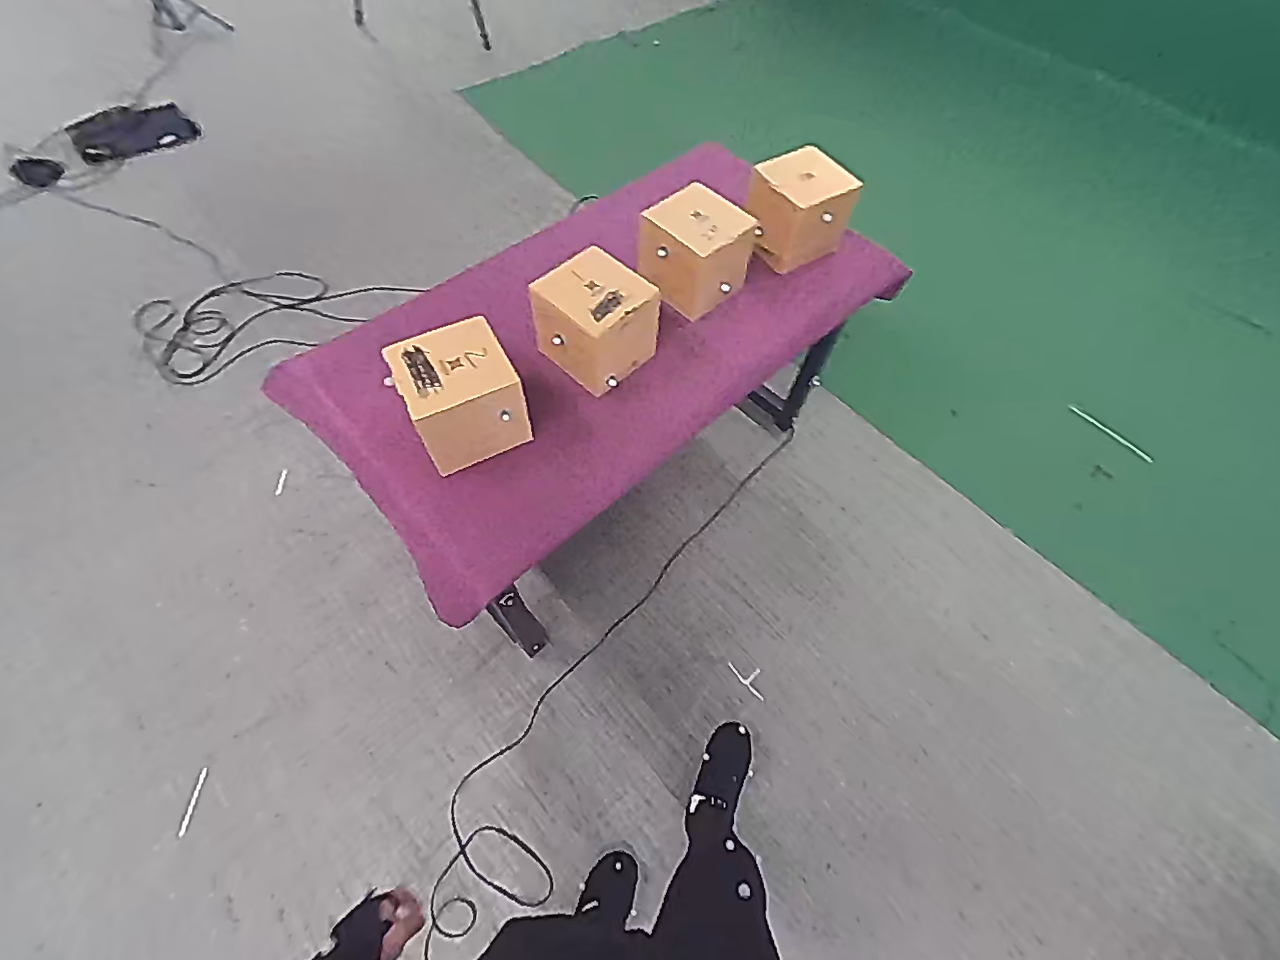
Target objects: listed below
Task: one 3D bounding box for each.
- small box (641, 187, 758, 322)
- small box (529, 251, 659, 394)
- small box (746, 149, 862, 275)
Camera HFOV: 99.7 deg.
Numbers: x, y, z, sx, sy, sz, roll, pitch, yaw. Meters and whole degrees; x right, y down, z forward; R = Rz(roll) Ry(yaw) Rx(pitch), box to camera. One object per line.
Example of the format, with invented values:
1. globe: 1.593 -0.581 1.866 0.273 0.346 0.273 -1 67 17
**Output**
1. small box: 0.114 -0.469 1.136 0.168 0.176 0.179 -39 69 -20
2. small box: -0.084 -0.290 1.028 0.179 0.176 0.168 40 66 19
3. small box: 0.354 -0.599 1.219 0.179 0.176 0.168 -29 66 -16
